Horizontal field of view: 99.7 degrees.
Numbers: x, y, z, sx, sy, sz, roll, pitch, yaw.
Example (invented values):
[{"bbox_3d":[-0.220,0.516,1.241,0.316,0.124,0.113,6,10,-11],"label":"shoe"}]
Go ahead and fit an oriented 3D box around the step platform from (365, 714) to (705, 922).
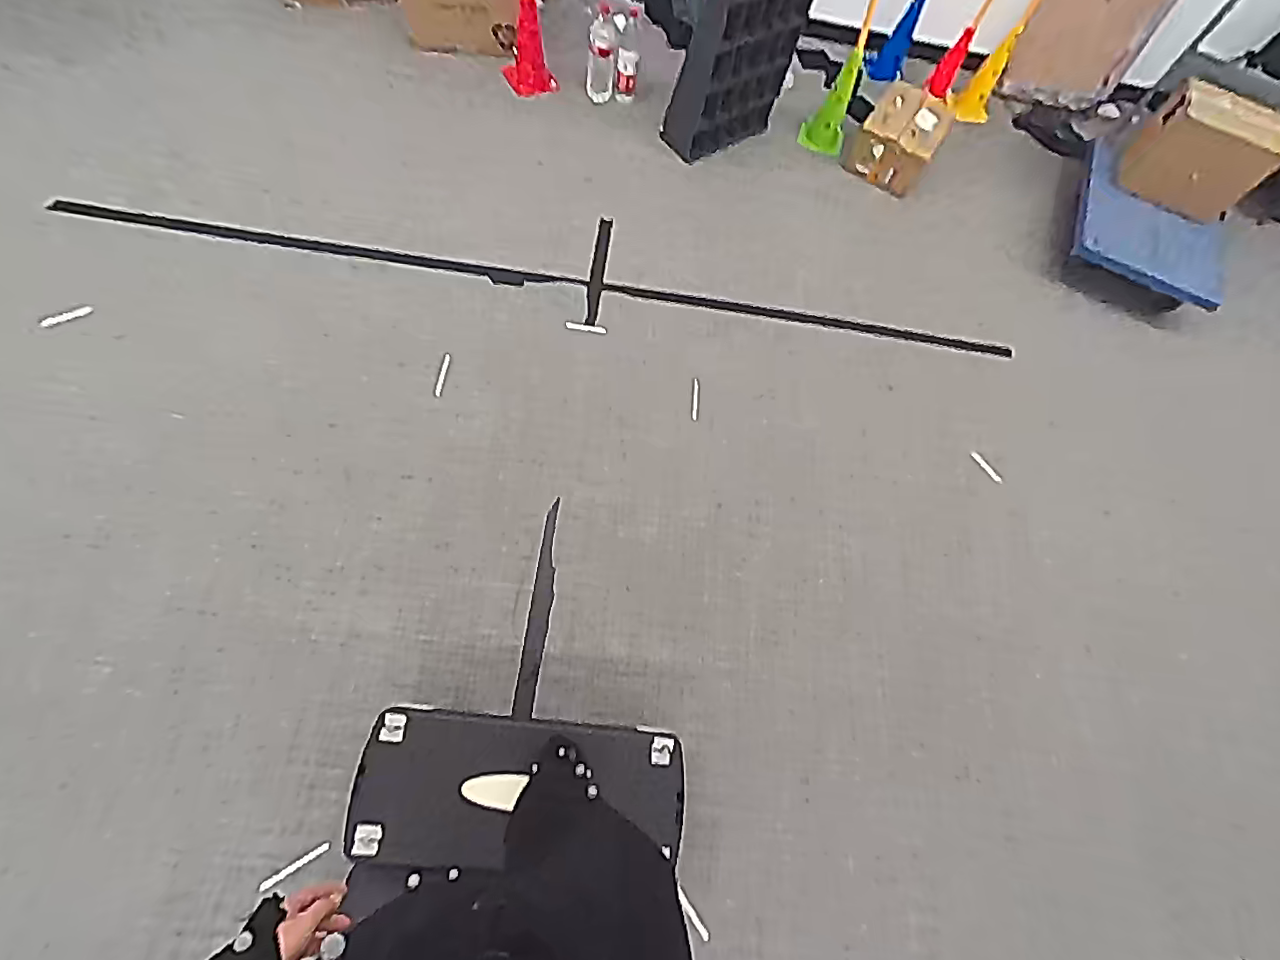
[{"bbox_3d":[-0.205,0.711,1.162,0.684,0.204,0.286,12,63,-4],"label":"step platform"}]
